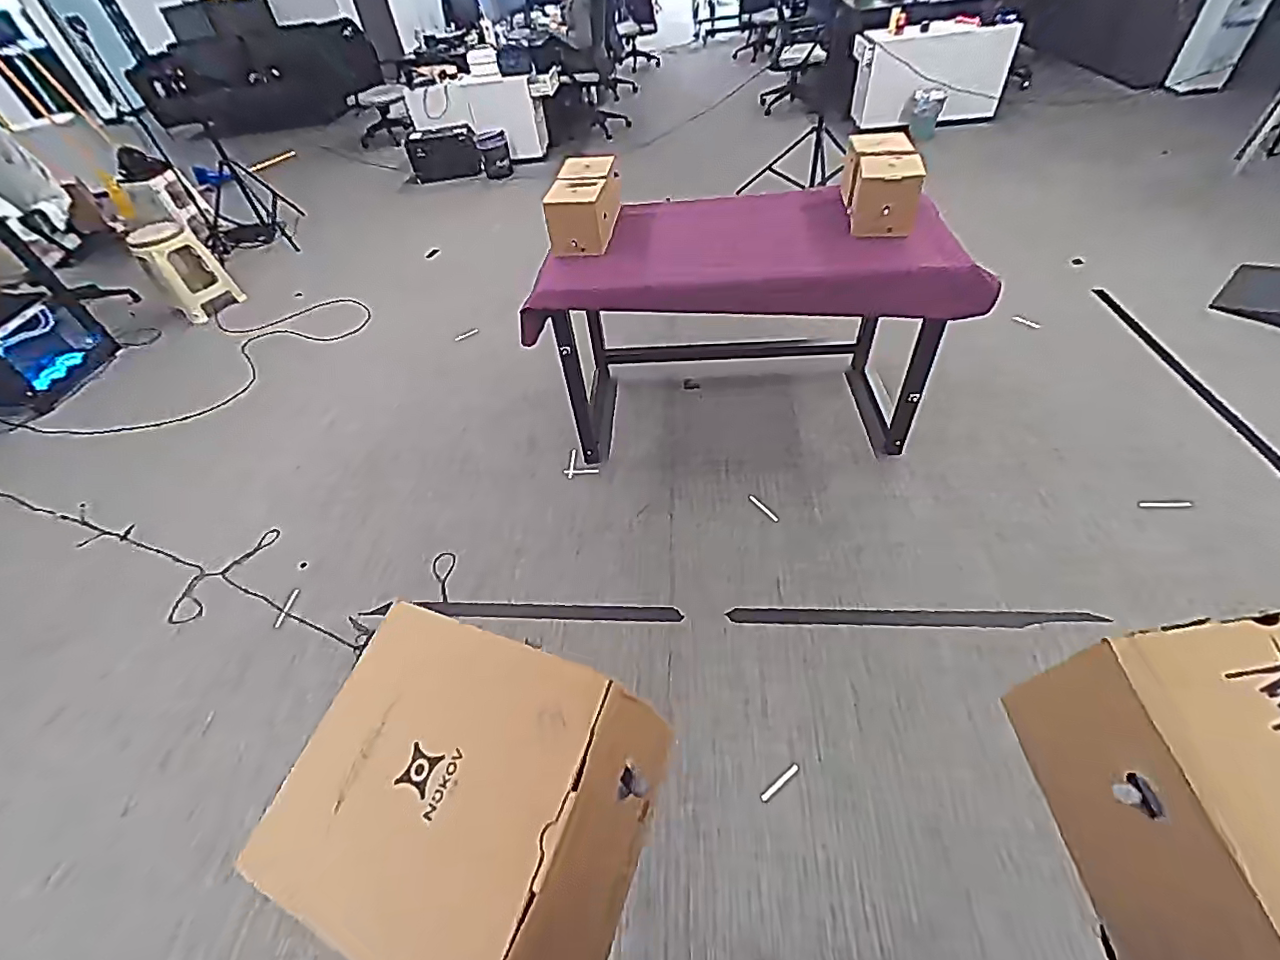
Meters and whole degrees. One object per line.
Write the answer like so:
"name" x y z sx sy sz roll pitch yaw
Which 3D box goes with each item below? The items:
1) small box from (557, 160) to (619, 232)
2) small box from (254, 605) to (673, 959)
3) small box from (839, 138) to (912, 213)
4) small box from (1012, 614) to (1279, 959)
"small box" -0.170 -0.960 1.828 0.168 0.176 0.179 2 49 9
"small box" -0.092 0.210 0.369 0.179 0.176 0.168 9 59 25
"small box" 0.743 -0.972 1.728 0.168 0.176 0.179 2 47 8
"small box" 0.364 0.189 0.316 0.168 0.176 0.179 -12 57 6
